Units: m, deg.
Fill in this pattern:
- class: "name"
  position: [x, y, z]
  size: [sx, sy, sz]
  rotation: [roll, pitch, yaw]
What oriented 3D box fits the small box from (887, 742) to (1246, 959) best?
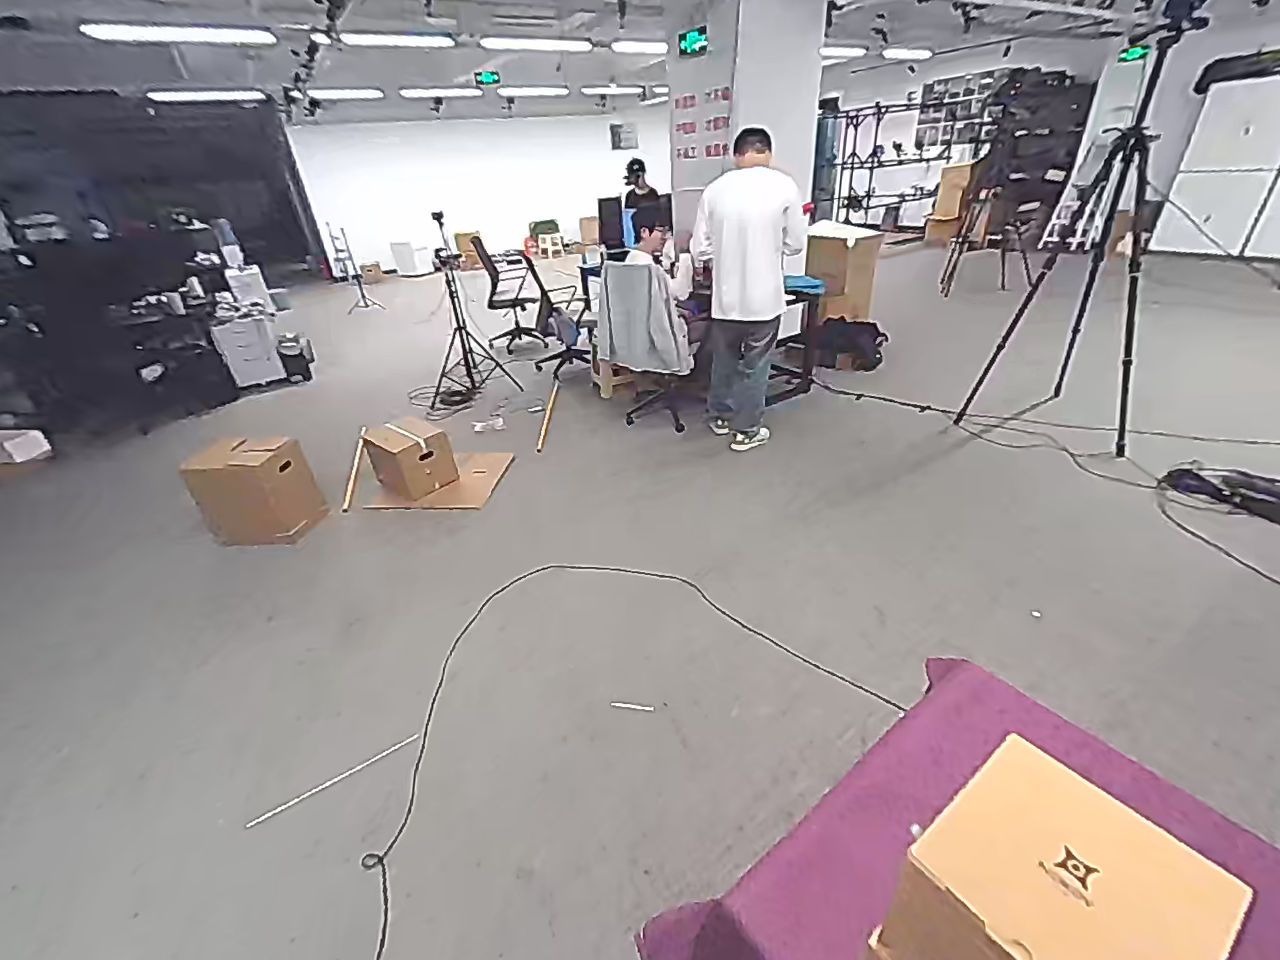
- class: "small box"
  position: [0.334, 0.374, 0.453]
  size: [0.179, 0.176, 0.168]
  rotation: [-23, 35, -28]
